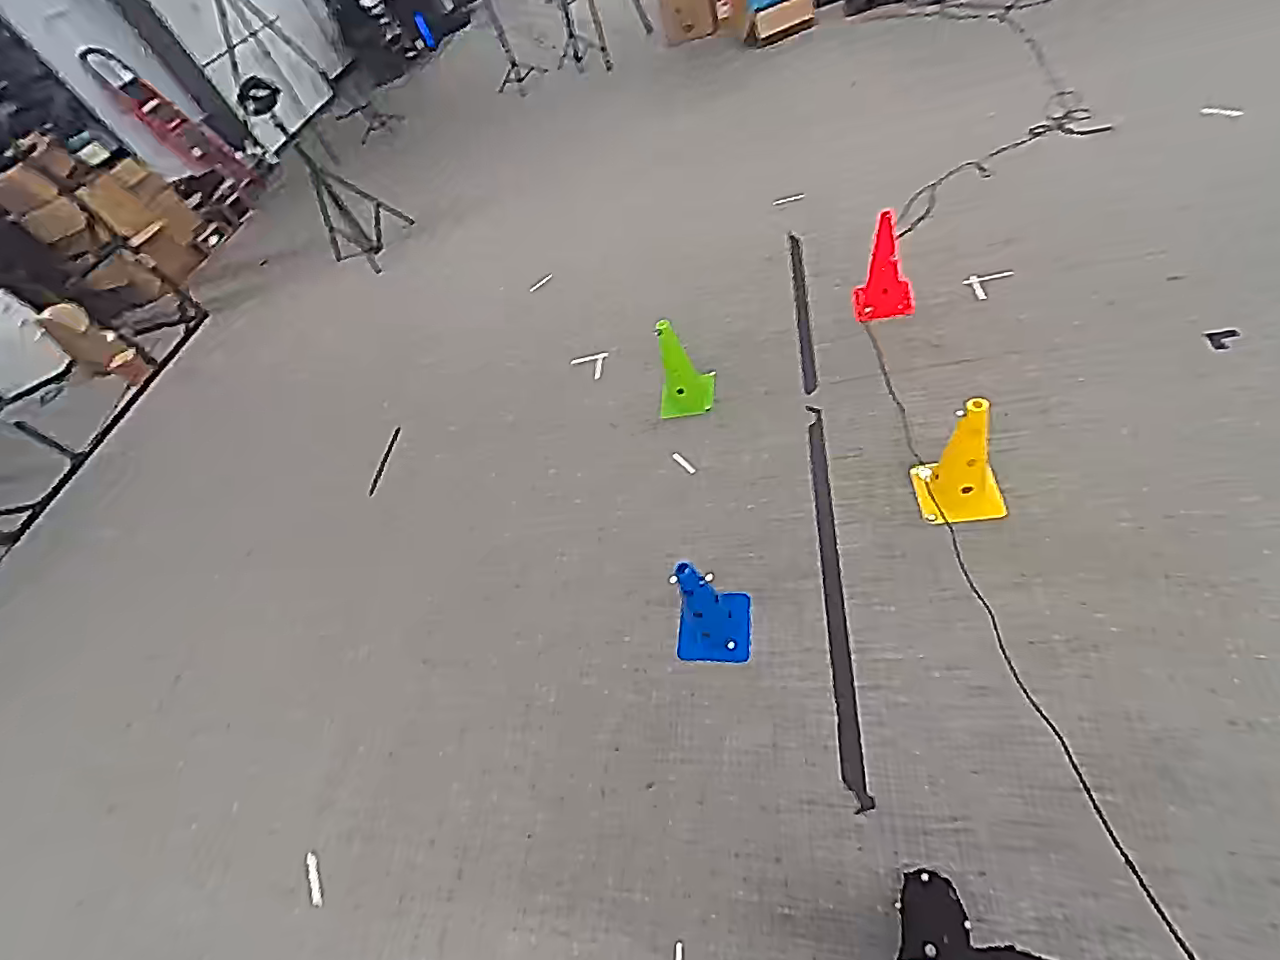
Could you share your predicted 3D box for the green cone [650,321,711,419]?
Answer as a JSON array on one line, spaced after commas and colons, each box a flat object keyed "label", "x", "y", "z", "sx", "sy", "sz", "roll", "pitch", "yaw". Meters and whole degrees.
[{"label": "green cone", "x": 0.115, "y": -0.419, "z": 1.934, "sx": 0.202, "sy": 0.368, "sz": 0.200, "roll": -7, "pitch": 53, "yaw": 19}]

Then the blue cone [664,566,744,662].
[{"label": "blue cone", "x": 0.141, "y": 0.318, "z": 1.385, "sx": 0.192, "sy": 0.380, "sz": 0.193, "roll": -4, "pitch": 53, "yaw": 21}]

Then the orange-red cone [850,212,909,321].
[{"label": "orange-red cone", "x": 0.849, "y": -0.771, "z": 1.906, "sx": 0.199, "sy": 0.360, "sz": 0.198, "roll": -2, "pitch": 56, "yaw": 19}]
